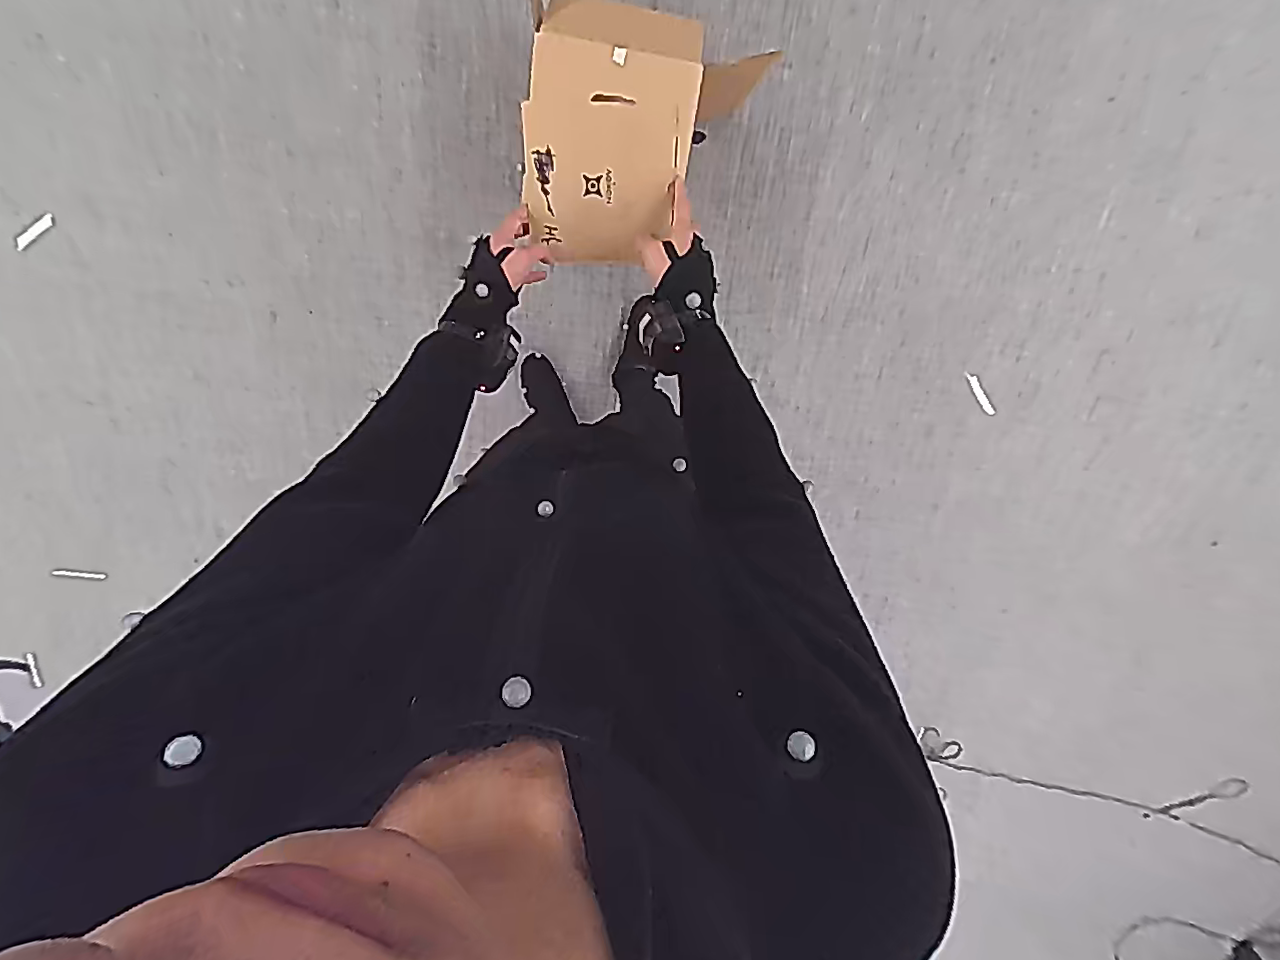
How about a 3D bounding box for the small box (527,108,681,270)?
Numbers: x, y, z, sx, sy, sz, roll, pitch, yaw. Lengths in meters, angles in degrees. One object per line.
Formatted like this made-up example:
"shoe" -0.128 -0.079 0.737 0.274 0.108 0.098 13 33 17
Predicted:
"small box" -0.041 -0.378 0.709 0.179 0.176 0.168 3 119 2
